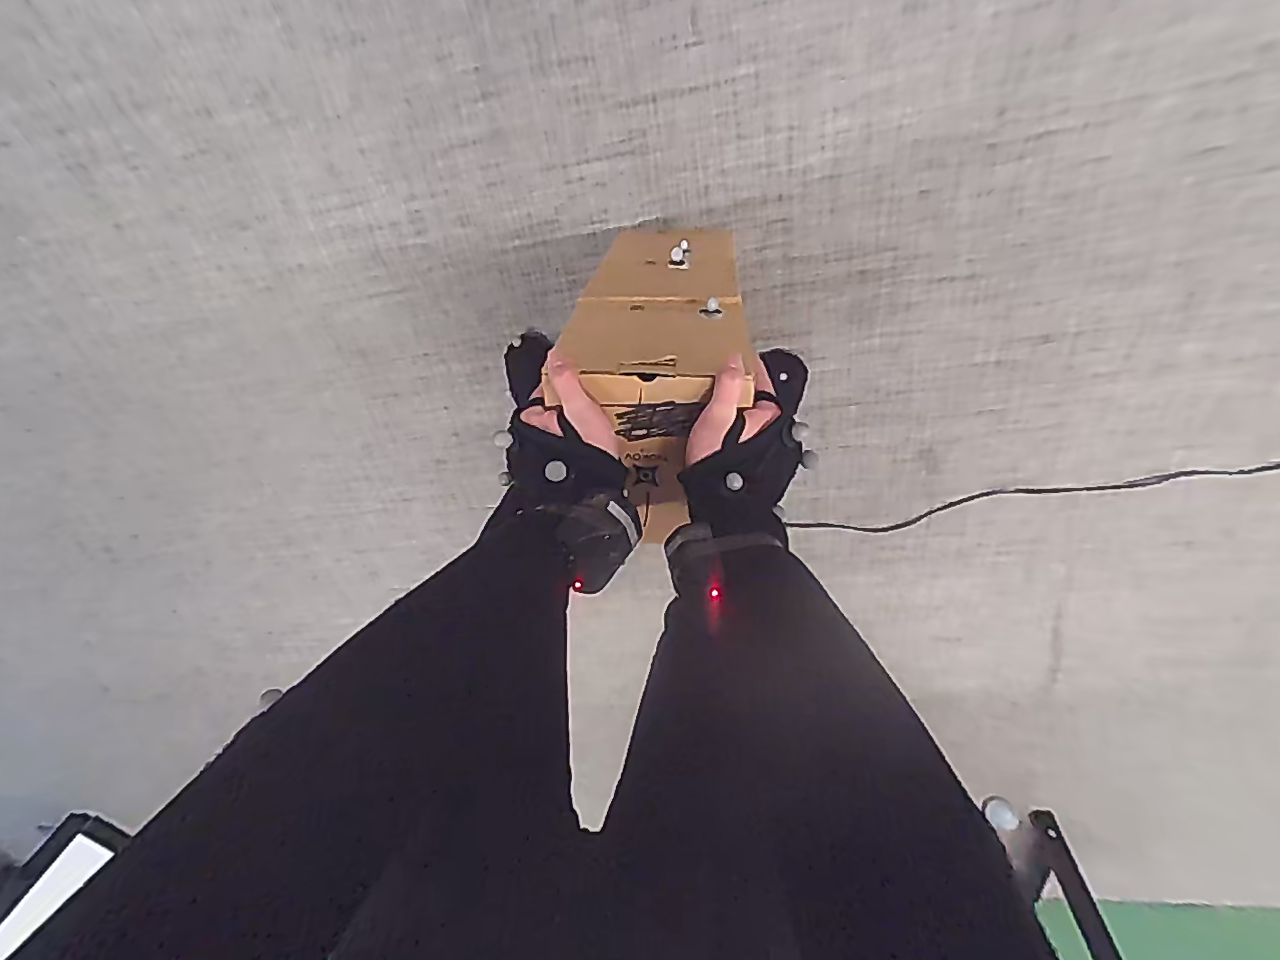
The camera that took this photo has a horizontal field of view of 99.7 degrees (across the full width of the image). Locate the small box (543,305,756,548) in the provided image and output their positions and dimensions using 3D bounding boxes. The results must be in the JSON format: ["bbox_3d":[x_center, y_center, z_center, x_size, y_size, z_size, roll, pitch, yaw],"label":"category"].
[{"bbox_3d":[0.013,-0.058,0.518,0.168,0.176,0.179,3,128,5],"label":"small box"}]

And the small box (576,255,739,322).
[{"bbox_3d":[0.029,-0.157,0.646,0.168,0.176,0.179,1,125,7],"label":"small box"}]

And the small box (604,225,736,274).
[{"bbox_3d":[0.048,-0.251,0.775,0.168,0.176,0.179,3,127,7],"label":"small box"}]
